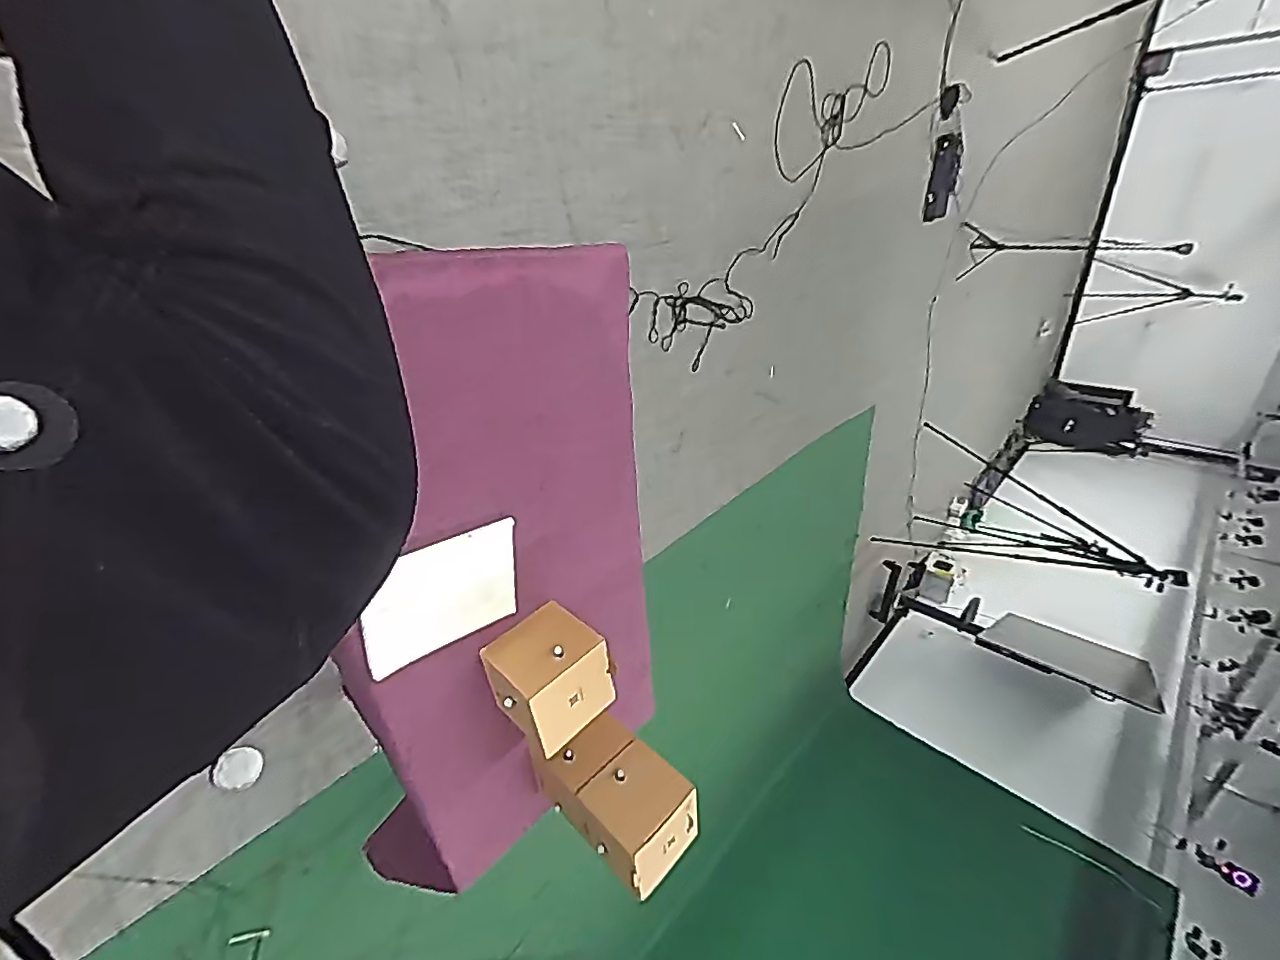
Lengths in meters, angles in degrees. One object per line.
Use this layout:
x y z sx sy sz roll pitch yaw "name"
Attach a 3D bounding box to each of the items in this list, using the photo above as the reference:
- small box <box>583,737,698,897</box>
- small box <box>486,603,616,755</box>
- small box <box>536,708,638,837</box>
-0.003 0.675 1.100 0.179 0.176 0.168 -28 127 -36 "small box"
-0.174 0.370 1.034 0.179 0.176 0.168 -32 128 -36 "small box"
-0.117 0.633 1.209 0.179 0.176 0.168 -28 126 -37 "small box"
